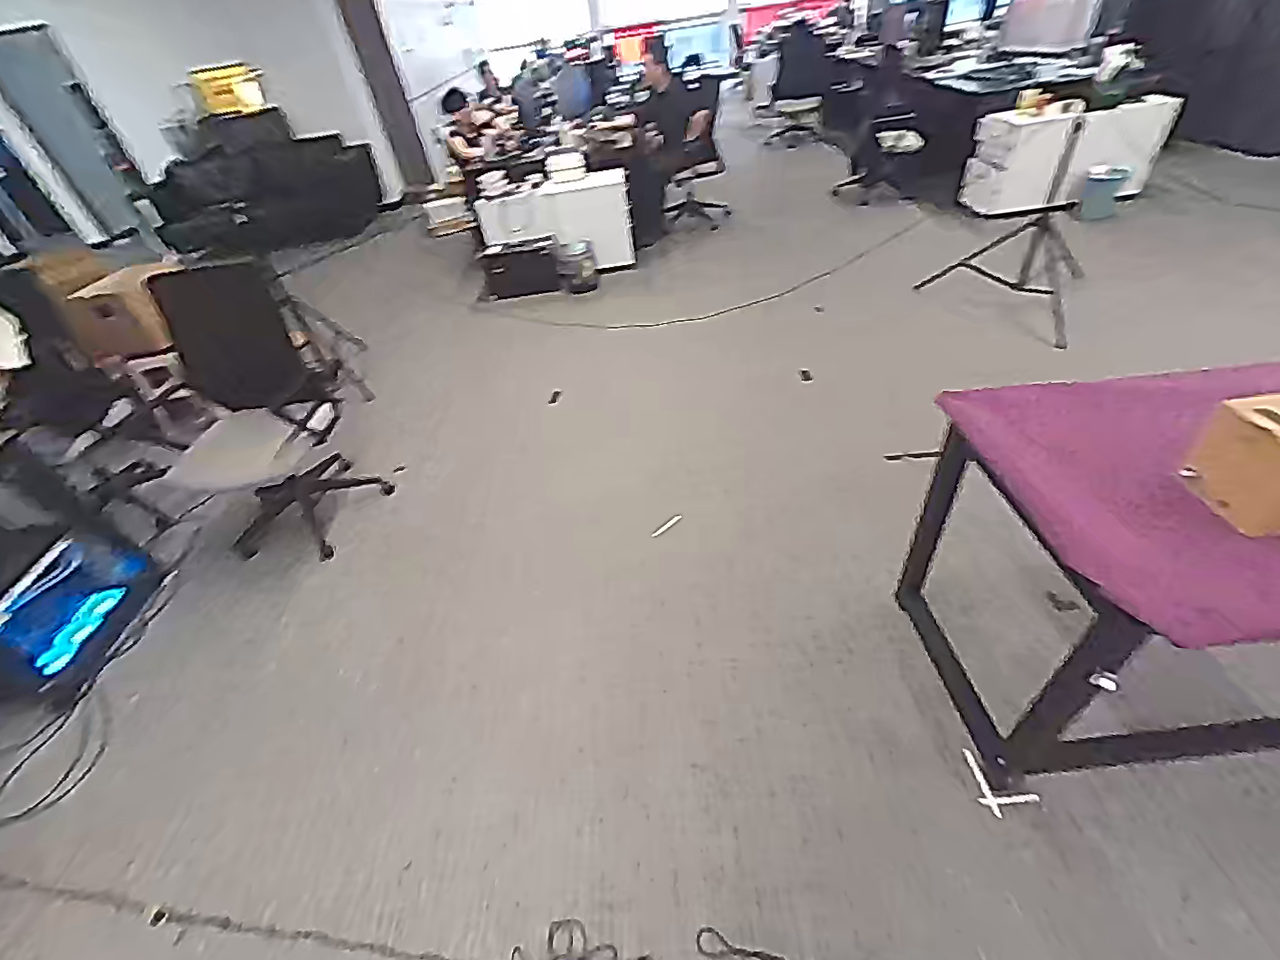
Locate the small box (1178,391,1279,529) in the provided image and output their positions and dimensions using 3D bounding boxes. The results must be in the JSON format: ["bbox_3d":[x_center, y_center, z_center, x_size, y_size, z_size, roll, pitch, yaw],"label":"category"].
[{"bbox_3d":[1.078,-0.033,0.911,0.179,0.176,0.168,-7,41,2],"label":"small box"}]
